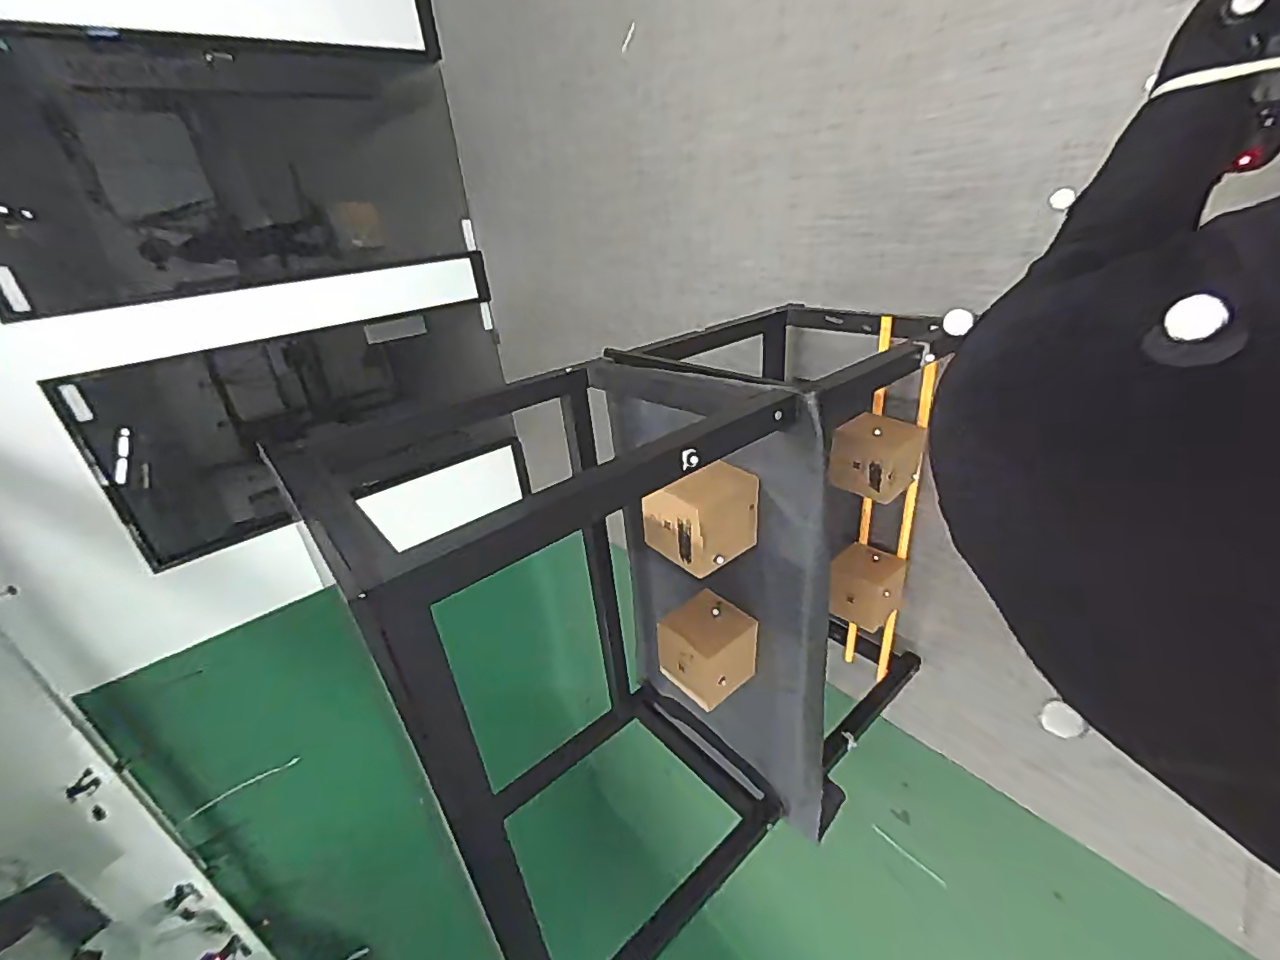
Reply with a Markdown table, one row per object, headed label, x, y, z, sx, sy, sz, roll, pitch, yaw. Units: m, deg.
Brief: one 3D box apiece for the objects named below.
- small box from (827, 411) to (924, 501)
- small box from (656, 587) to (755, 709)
| label | x | y | z | sx | sy | sz | roll | pitch | yaw |
| --- | --- | --- | --- | --- | --- | --- | --- | --- | --- |
| small box | 0.634 | -0.073 | 1.456 | 0.179 | 0.176 | 0.168 | 28 | 132 | 42 |
| small box | 0.158 | 0.391 | 1.284 | 0.168 | 0.176 | 0.179 | 28 | 132 | 43 |
